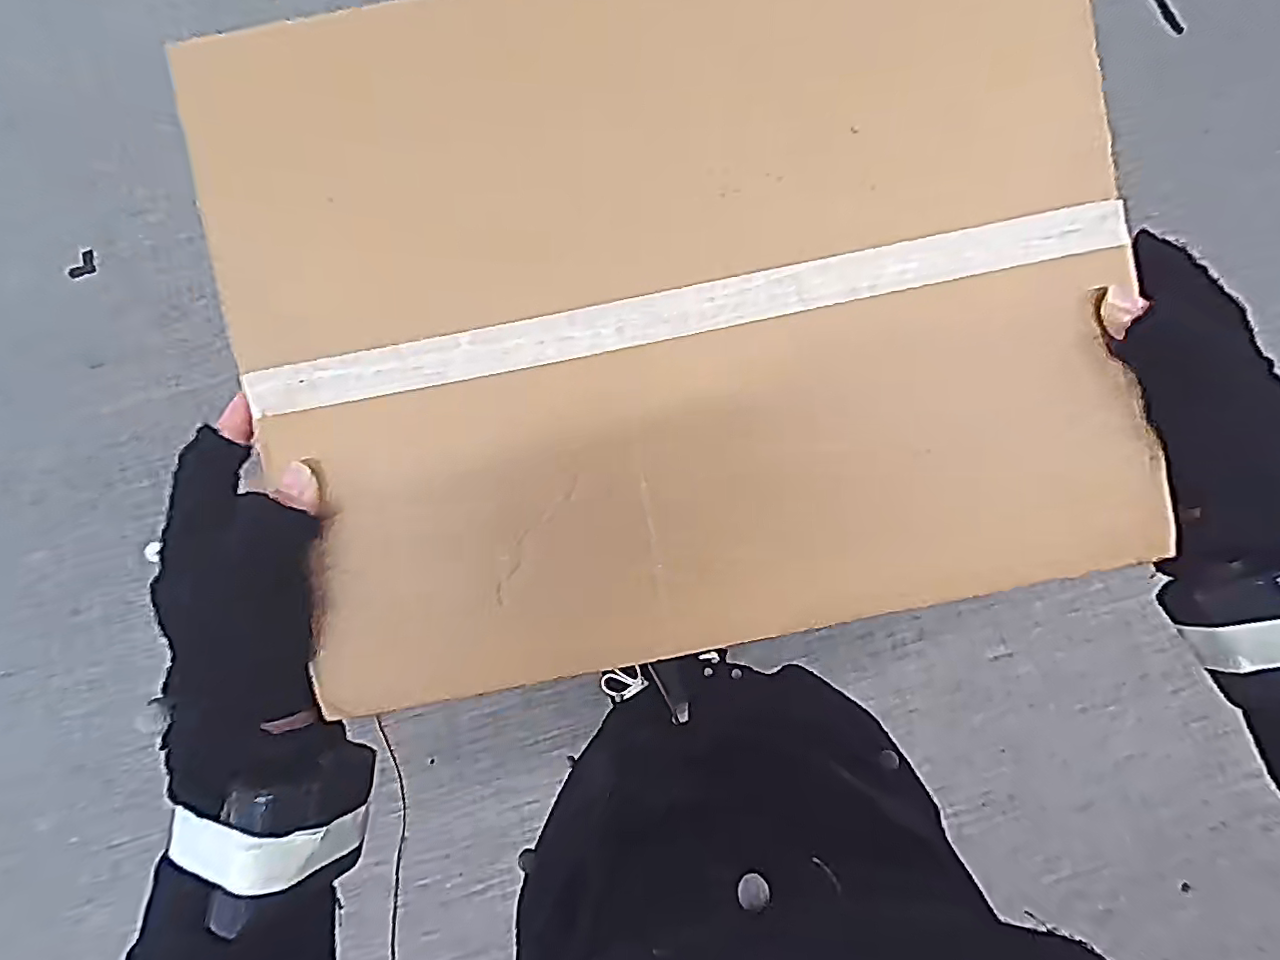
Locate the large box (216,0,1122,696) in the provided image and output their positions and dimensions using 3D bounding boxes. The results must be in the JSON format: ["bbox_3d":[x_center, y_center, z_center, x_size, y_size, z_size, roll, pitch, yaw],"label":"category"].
[{"bbox_3d":[0.021,-0.087,0.411,0.408,0.320,0.320,-11,92,0],"label":"large box"}]
